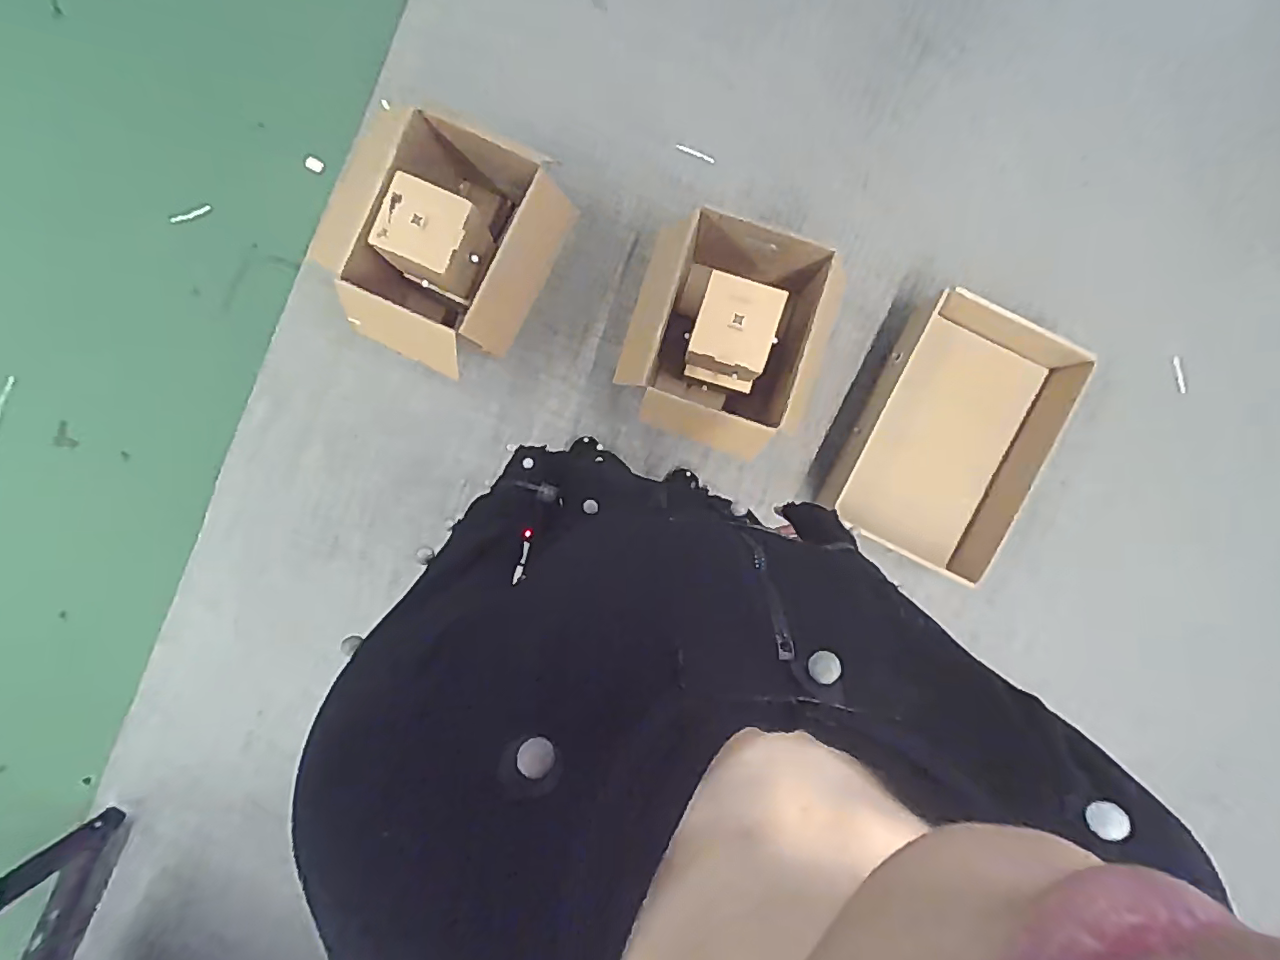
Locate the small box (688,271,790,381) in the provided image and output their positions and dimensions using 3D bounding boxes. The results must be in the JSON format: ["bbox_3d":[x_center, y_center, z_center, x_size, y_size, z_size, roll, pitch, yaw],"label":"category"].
[{"bbox_3d":[0.208,-0.329,1.192,0.168,0.176,0.179,18,93,0],"label":"small box"}]
